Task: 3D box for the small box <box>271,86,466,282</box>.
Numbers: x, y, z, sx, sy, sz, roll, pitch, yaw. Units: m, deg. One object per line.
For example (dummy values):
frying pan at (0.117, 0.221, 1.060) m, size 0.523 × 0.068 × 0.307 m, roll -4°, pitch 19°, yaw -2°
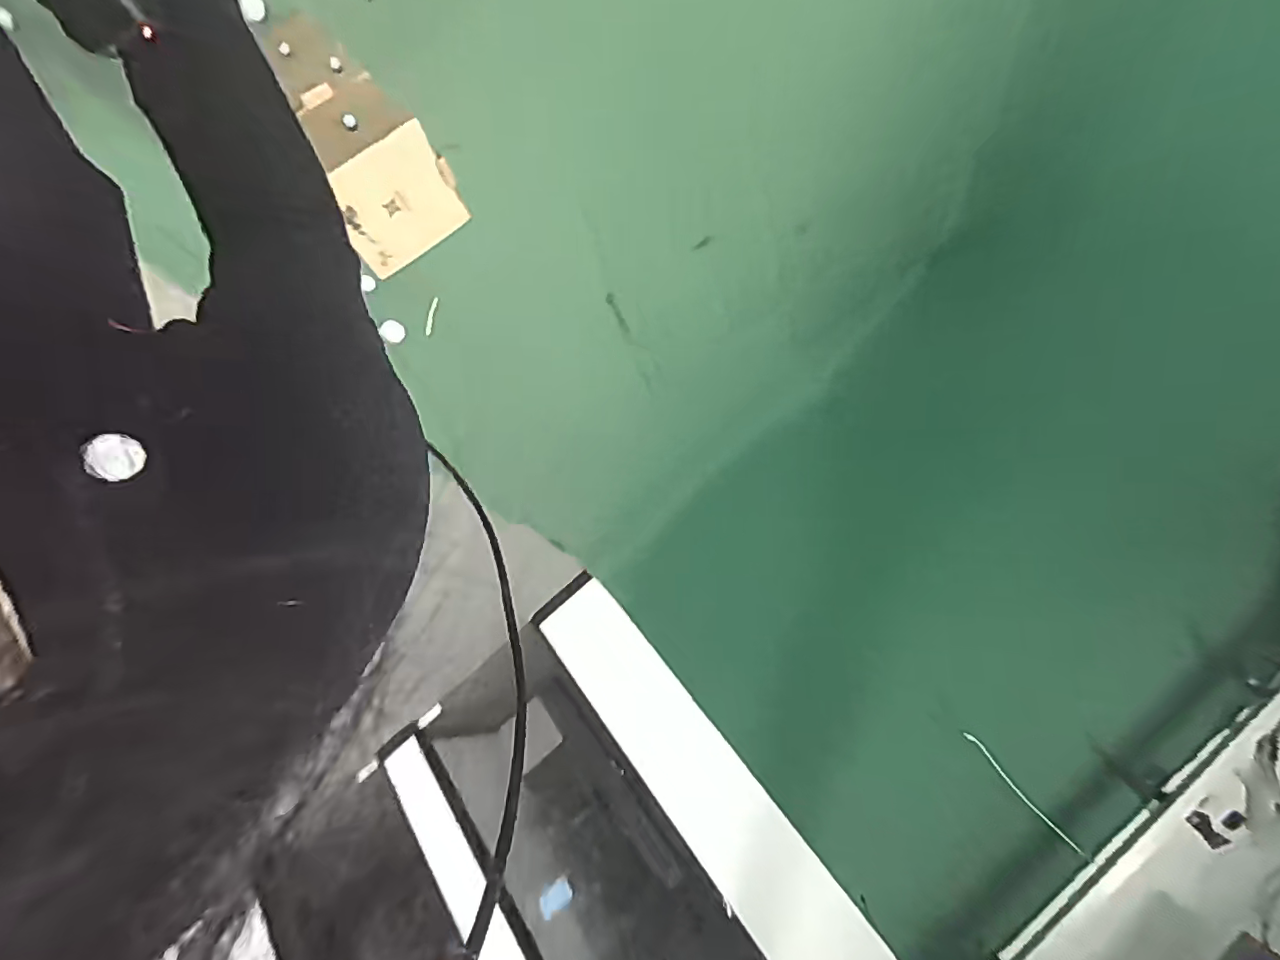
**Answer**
small box at (-0.407, -0.450, 0.821) m, size 0.179 × 0.176 × 0.168 m, roll -40°, pitch 156°, yaw -9°
